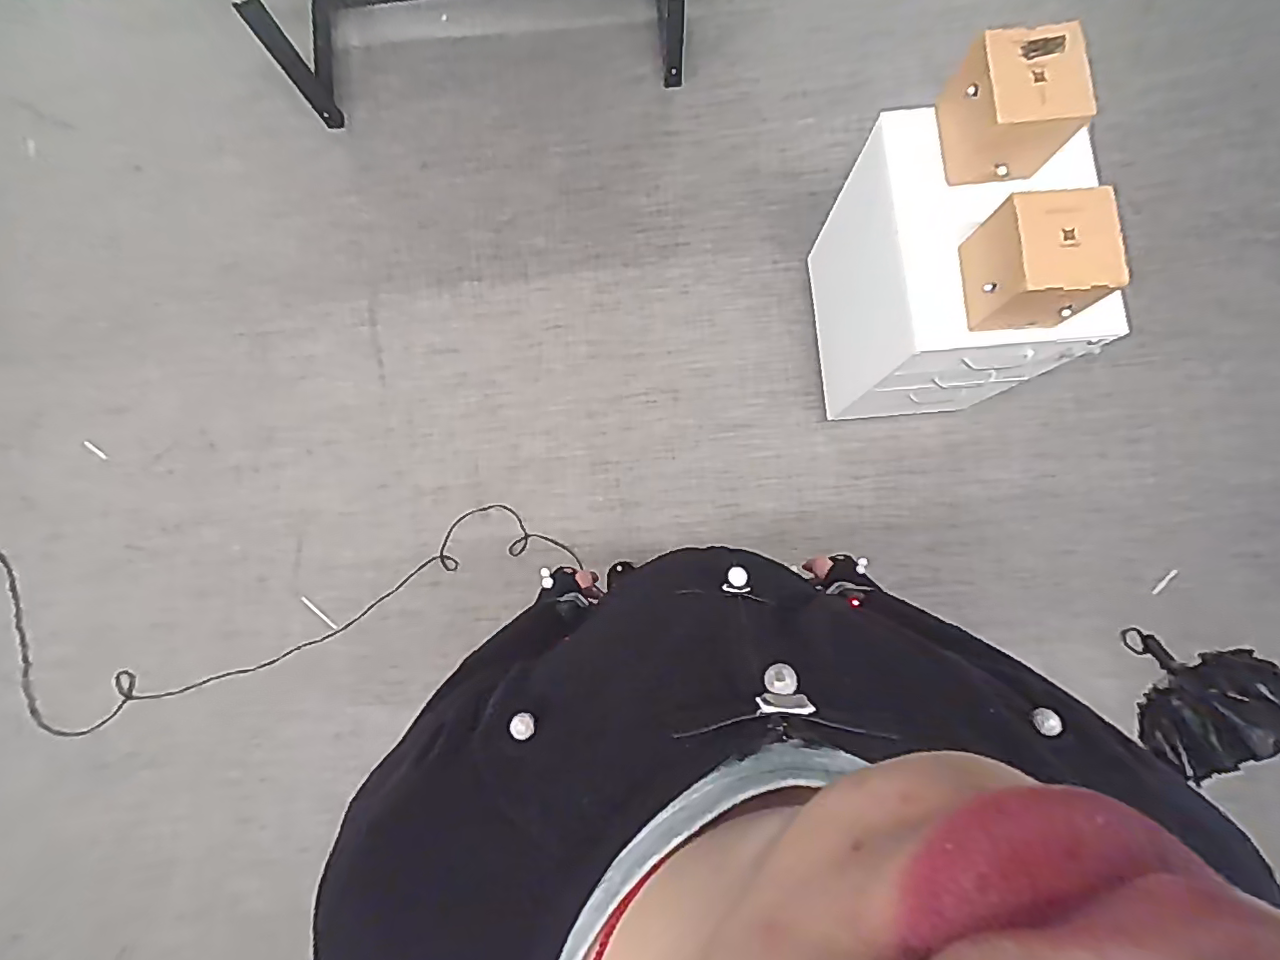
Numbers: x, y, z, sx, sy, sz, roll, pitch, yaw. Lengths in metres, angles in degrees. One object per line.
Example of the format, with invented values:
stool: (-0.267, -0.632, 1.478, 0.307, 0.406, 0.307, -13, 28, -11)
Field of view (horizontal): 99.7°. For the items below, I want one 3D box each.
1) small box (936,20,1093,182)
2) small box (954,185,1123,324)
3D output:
small box: (0.671, -0.684, 0.991, 0.168, 0.176, 0.179, -5, 85, 1)
small box: (0.692, -0.387, 0.960, 0.168, 0.176, 0.179, -3, 82, -1)
